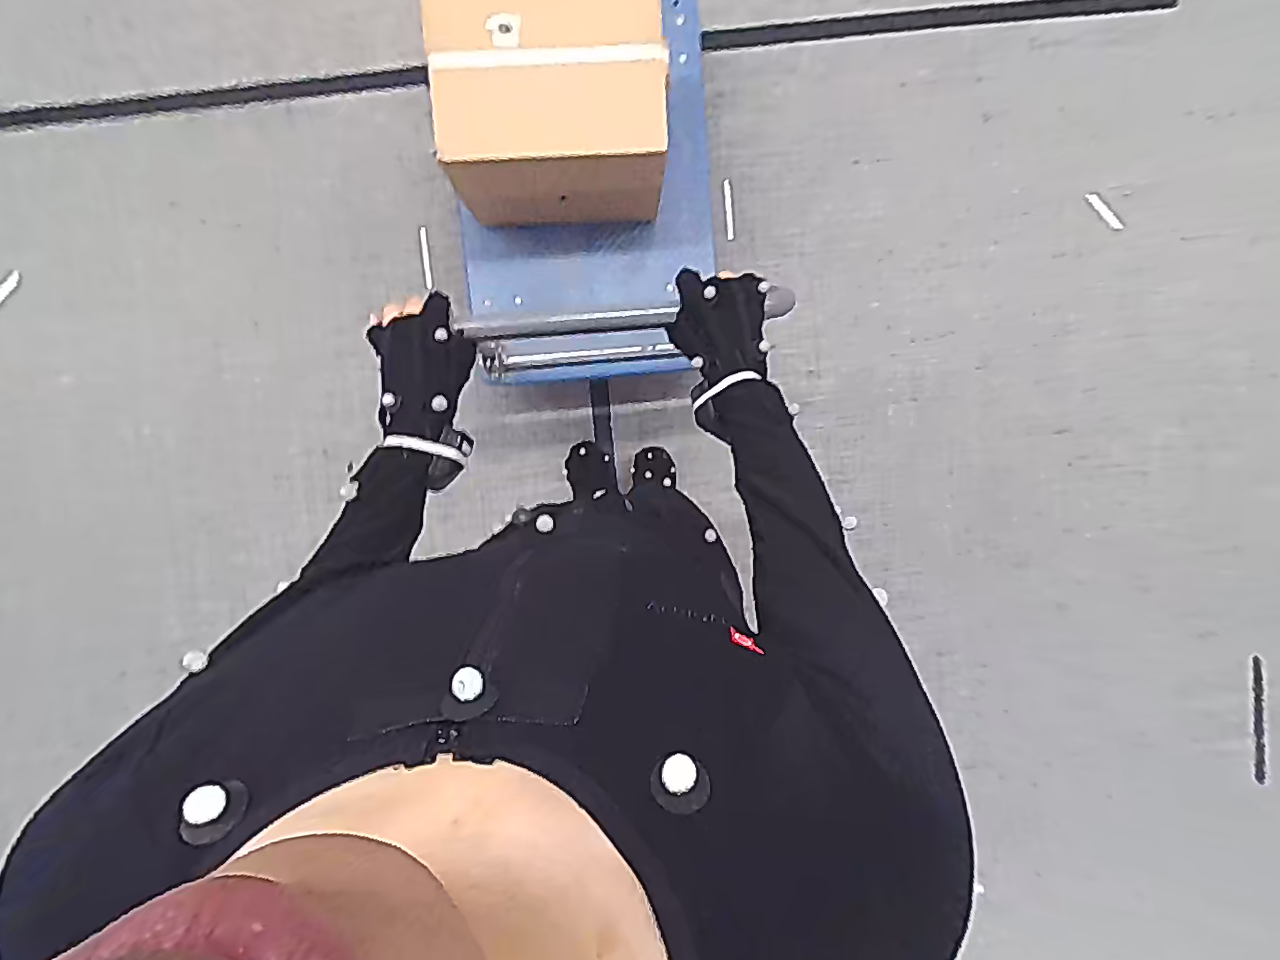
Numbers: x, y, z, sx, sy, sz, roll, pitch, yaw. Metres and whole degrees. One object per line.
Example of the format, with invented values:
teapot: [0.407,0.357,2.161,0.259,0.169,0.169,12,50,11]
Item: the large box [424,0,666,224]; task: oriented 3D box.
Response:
large box: [-0.164,-0.733,1.085,0.408,0.320,0.320,-3,95,-1]
